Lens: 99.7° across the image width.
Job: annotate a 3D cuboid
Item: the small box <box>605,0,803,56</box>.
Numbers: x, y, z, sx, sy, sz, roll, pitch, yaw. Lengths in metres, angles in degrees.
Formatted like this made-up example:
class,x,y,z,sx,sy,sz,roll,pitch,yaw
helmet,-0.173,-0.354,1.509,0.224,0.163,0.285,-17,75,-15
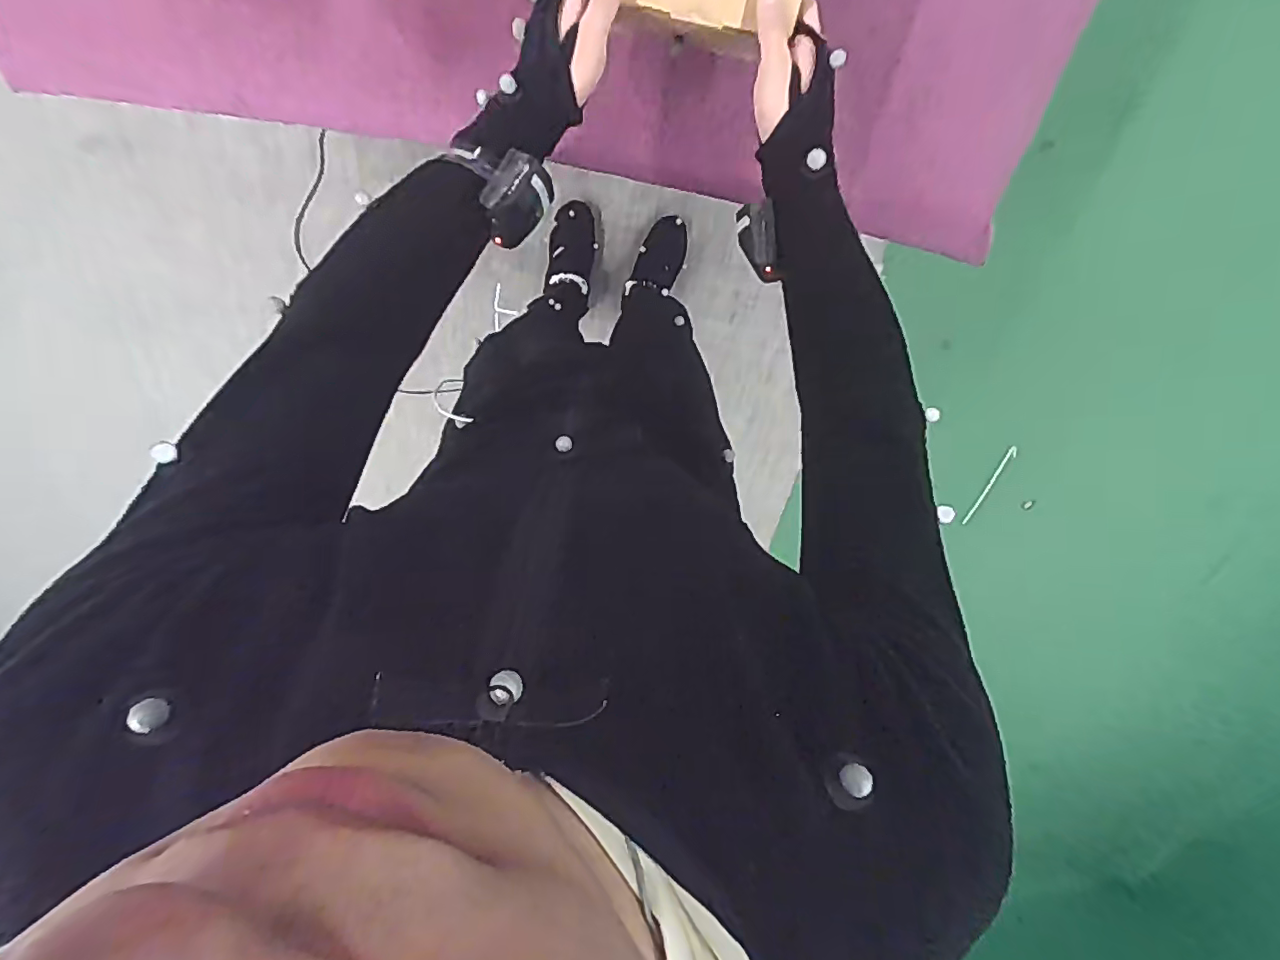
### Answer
class,x,y,z,sx,sy,sz,roll,pitch,yaw
small box,0.059,-0.493,0.461,0.168,0.176,0.179,7,124,-8
